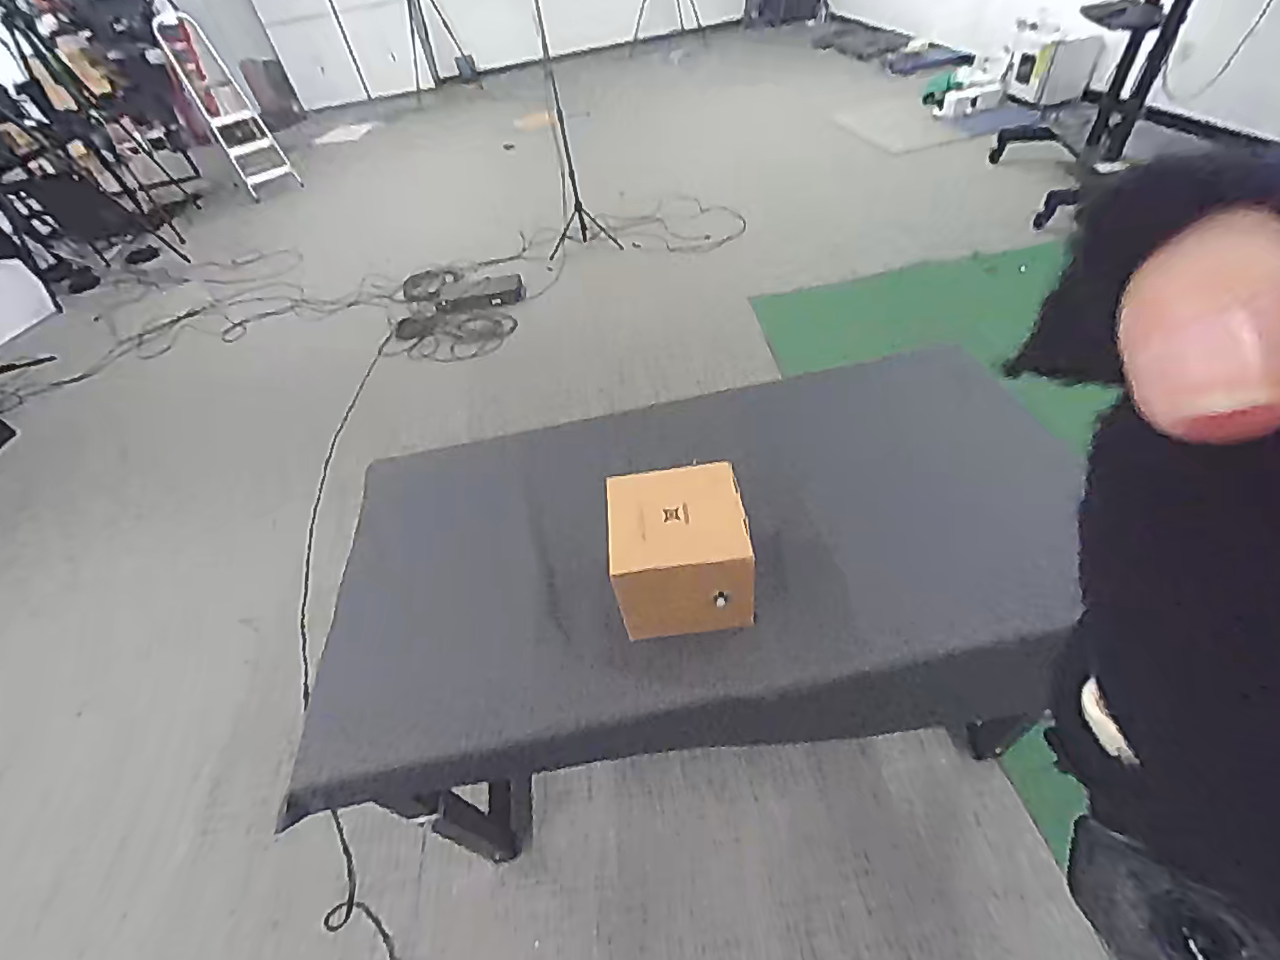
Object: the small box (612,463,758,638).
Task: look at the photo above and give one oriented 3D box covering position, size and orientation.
[{"bbox_3d":[0.061,0.102,0.758,0.179,0.176,0.168,-9,45,3],"label":"small box"}]
